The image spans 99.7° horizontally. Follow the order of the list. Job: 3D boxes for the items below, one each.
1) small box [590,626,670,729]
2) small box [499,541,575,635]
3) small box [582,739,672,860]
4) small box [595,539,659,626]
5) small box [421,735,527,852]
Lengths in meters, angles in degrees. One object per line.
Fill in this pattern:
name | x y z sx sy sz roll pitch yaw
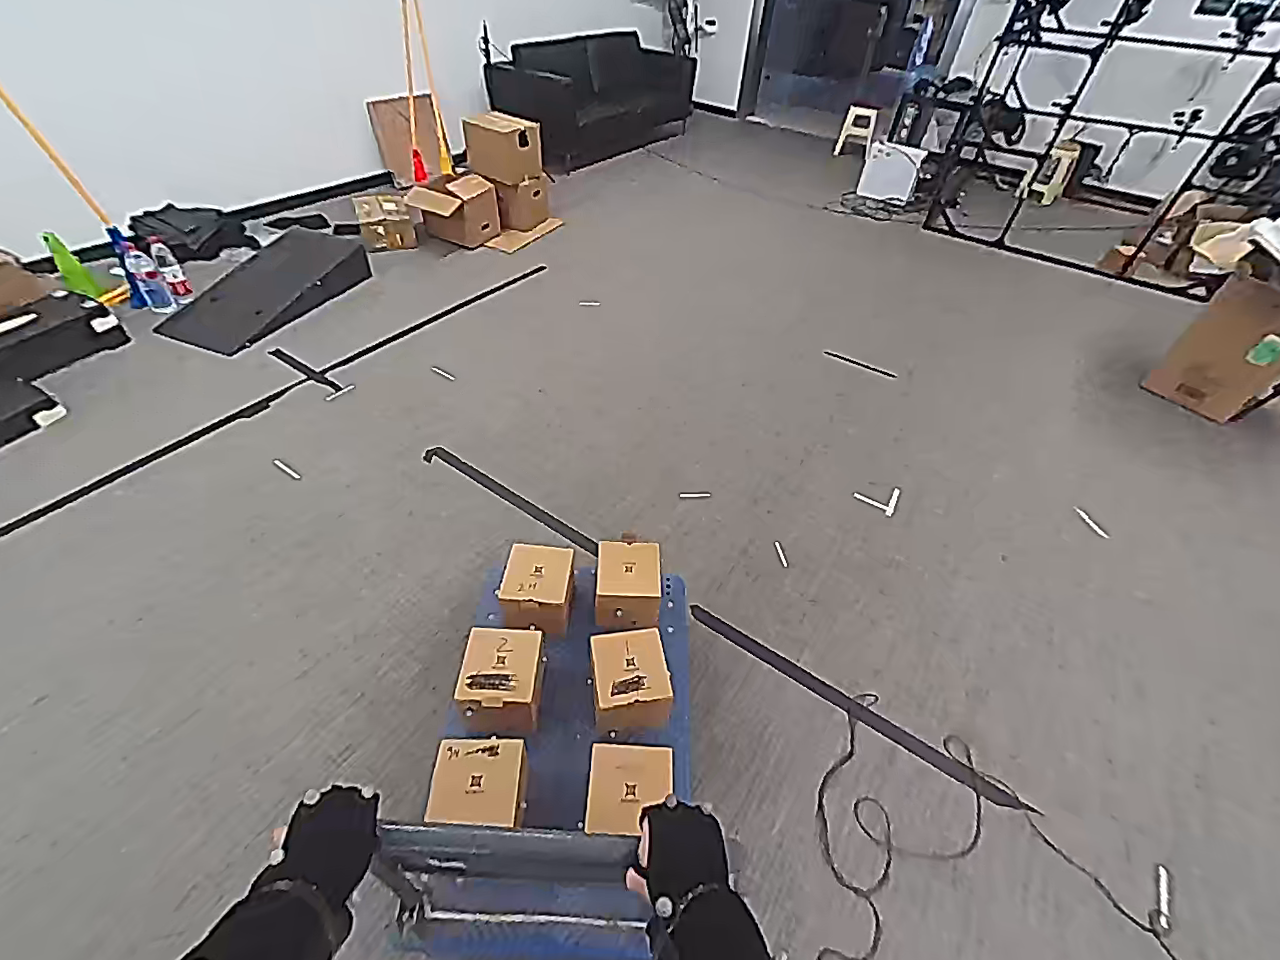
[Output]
small box | -0.030 0.475 1.290 0.168 0.176 0.179 -4 44 -10
small box | -0.270 0.290 1.449 0.168 0.176 0.179 6 45 -1
small box | -0.026 0.657 1.107 0.168 0.176 0.179 5 44 -2
small box | -0.037 0.284 1.485 0.168 0.176 0.179 3 44 -4
small box | -0.323 0.636 1.093 0.168 0.176 0.179 3 45 -5
